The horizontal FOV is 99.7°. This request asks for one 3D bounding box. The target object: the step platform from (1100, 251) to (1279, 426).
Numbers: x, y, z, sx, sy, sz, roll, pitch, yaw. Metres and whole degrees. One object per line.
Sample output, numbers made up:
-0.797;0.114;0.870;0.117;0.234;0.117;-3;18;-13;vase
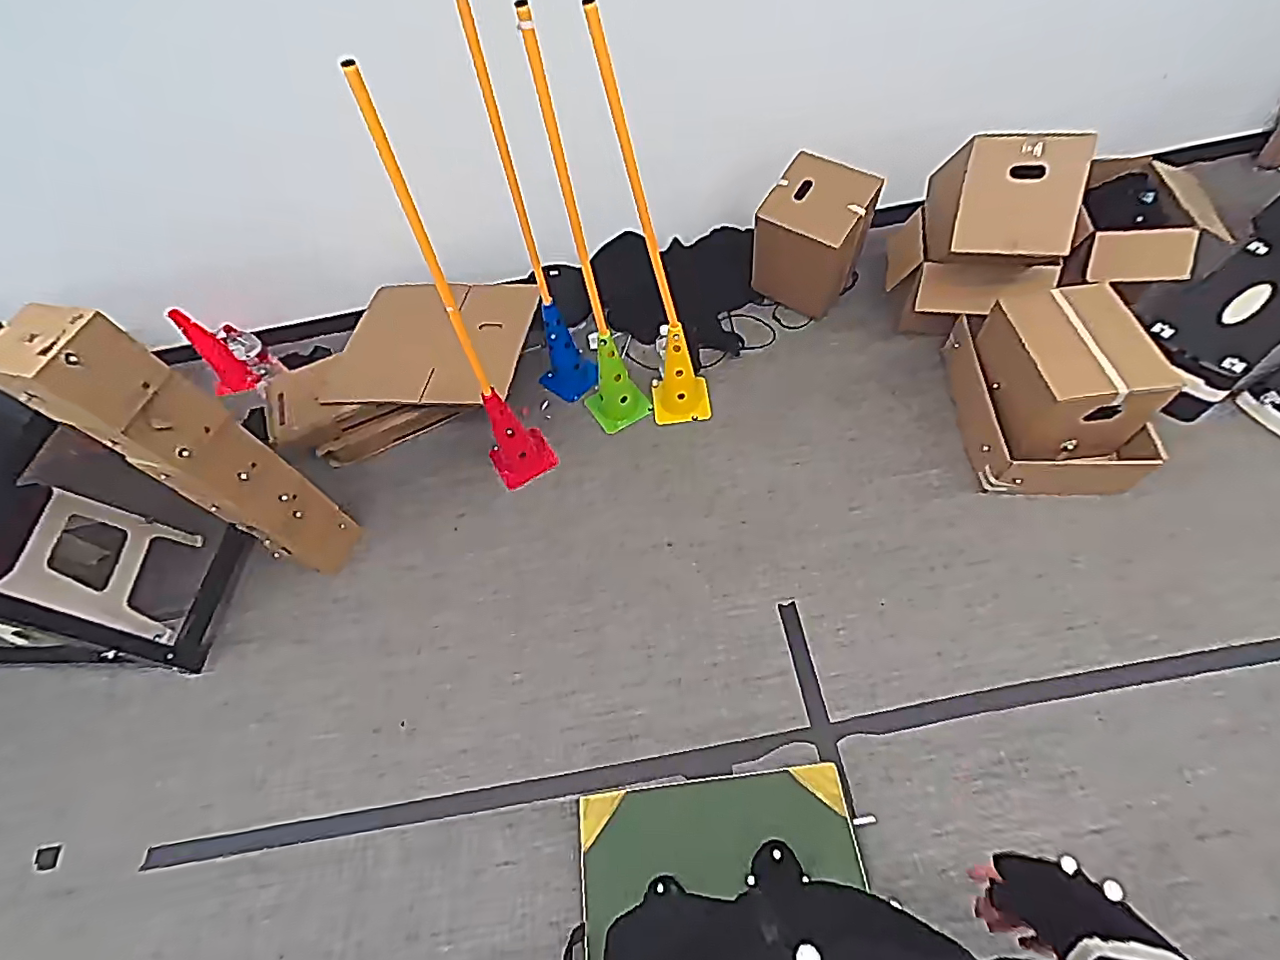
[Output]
1.865;-0.472;1.756;0.684;0.204;0.286;-35;60;-13;step platform
